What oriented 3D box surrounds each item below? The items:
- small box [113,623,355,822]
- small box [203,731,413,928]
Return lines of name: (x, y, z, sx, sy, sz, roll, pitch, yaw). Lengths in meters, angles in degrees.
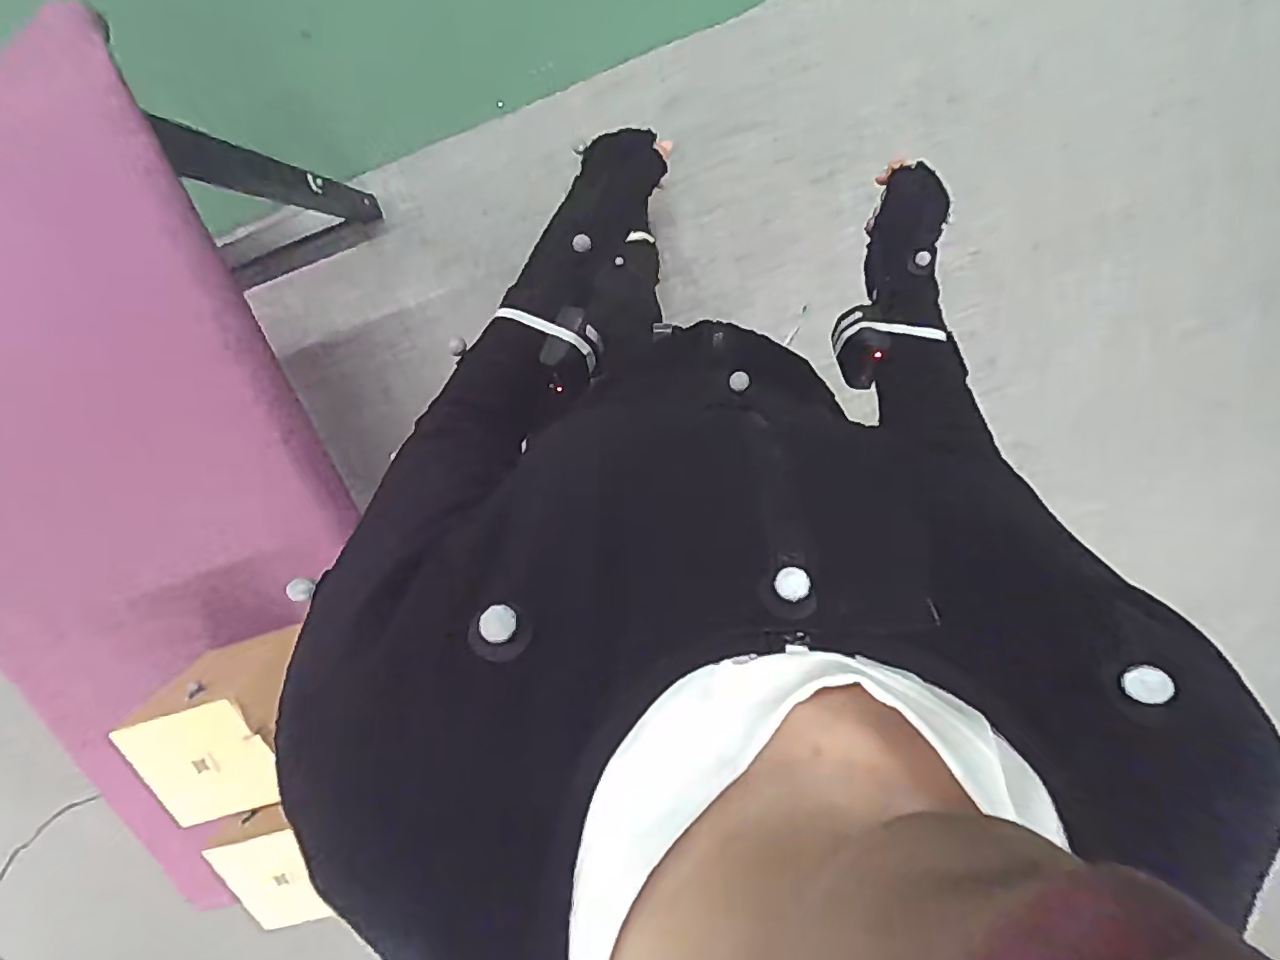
small box: (-0.550, 0.331, 0.761, 0.179, 0.176, 0.168, -18, 107, 6)
small box: (-0.484, 0.518, 0.819, 0.179, 0.176, 0.168, -18, 107, 6)
